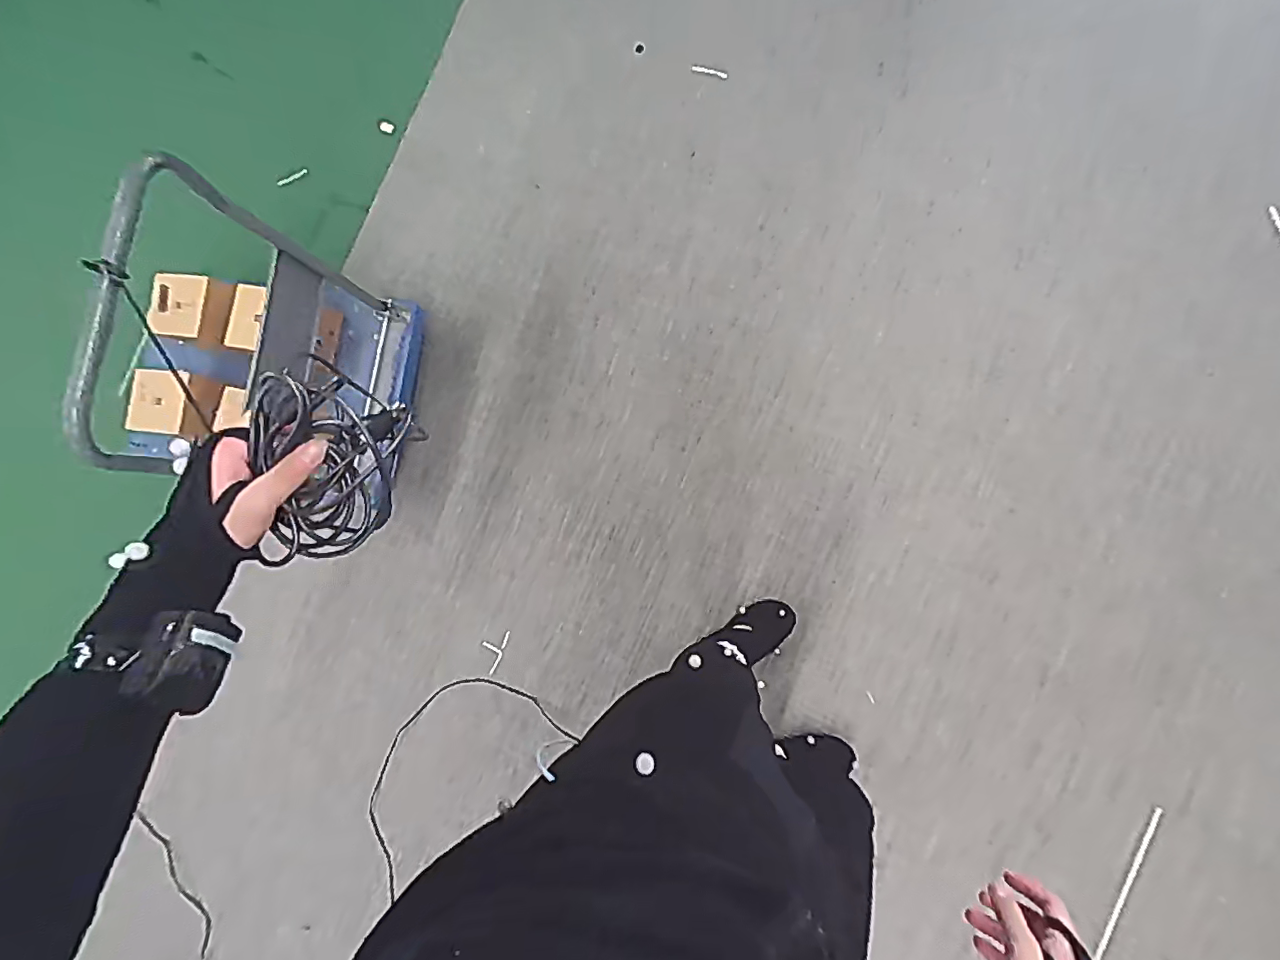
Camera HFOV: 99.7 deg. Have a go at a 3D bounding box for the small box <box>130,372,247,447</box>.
[{"bbox_3d":[-1.225,-0.188,1.479,0.179,0.176,0.168,6,85,12],"label":"small box"}]

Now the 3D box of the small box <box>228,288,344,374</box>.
[{"bbox_3d":[-0.936,-0.390,1.441,0.179,0.176,0.168,11,87,12],"label":"small box"}]

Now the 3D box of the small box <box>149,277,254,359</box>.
[{"bbox_3d":[-1.189,-0.442,1.497,0.179,0.176,0.168,8,87,11],"label":"small box"}]
